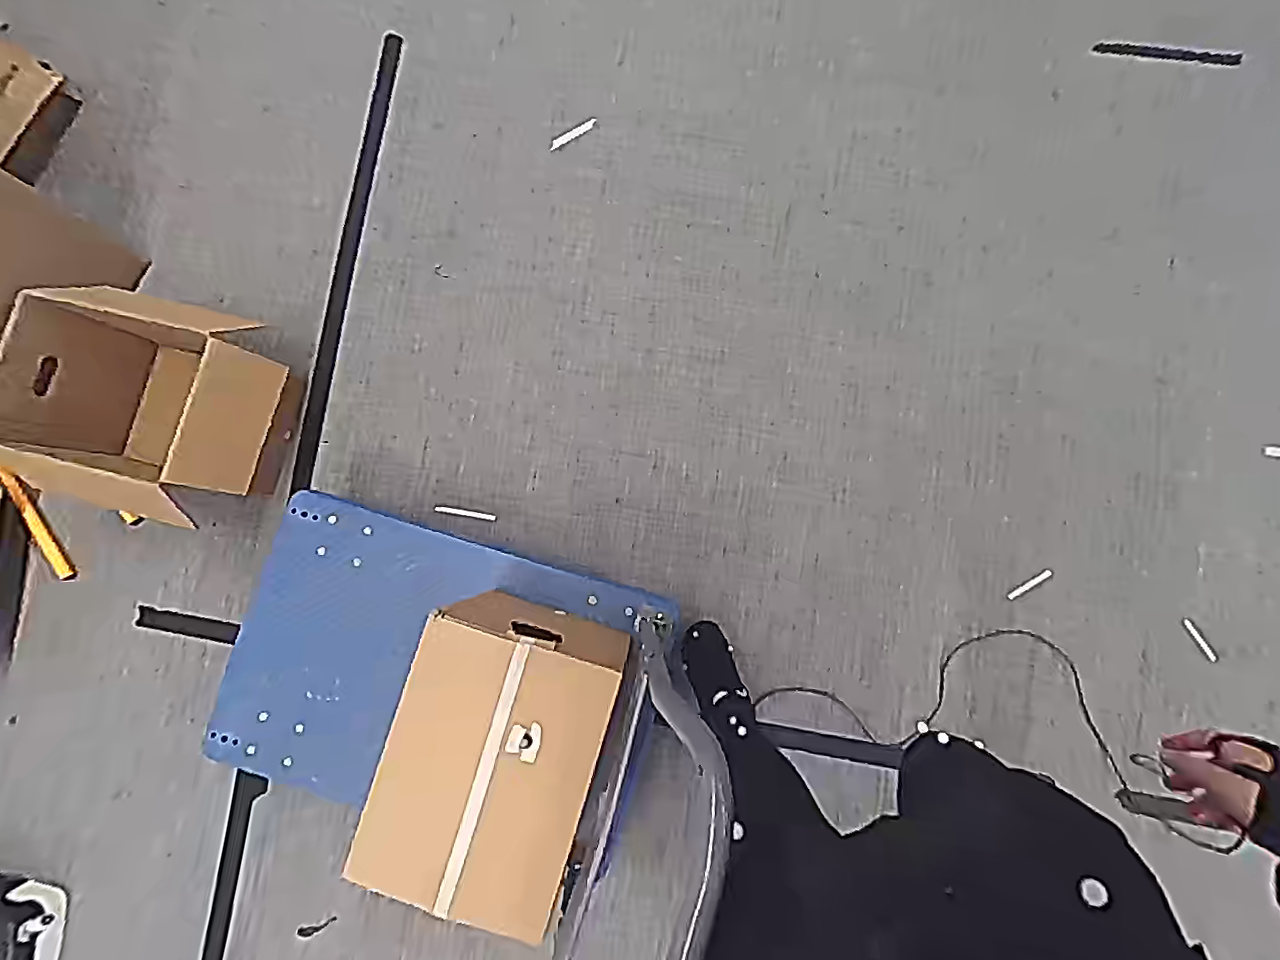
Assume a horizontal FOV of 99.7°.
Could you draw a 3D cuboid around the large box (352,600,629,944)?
[{"bbox_3d":[-0.225,0.462,0.956,0.320,0.320,0.408,17,84,3],"label":"large box"}]
